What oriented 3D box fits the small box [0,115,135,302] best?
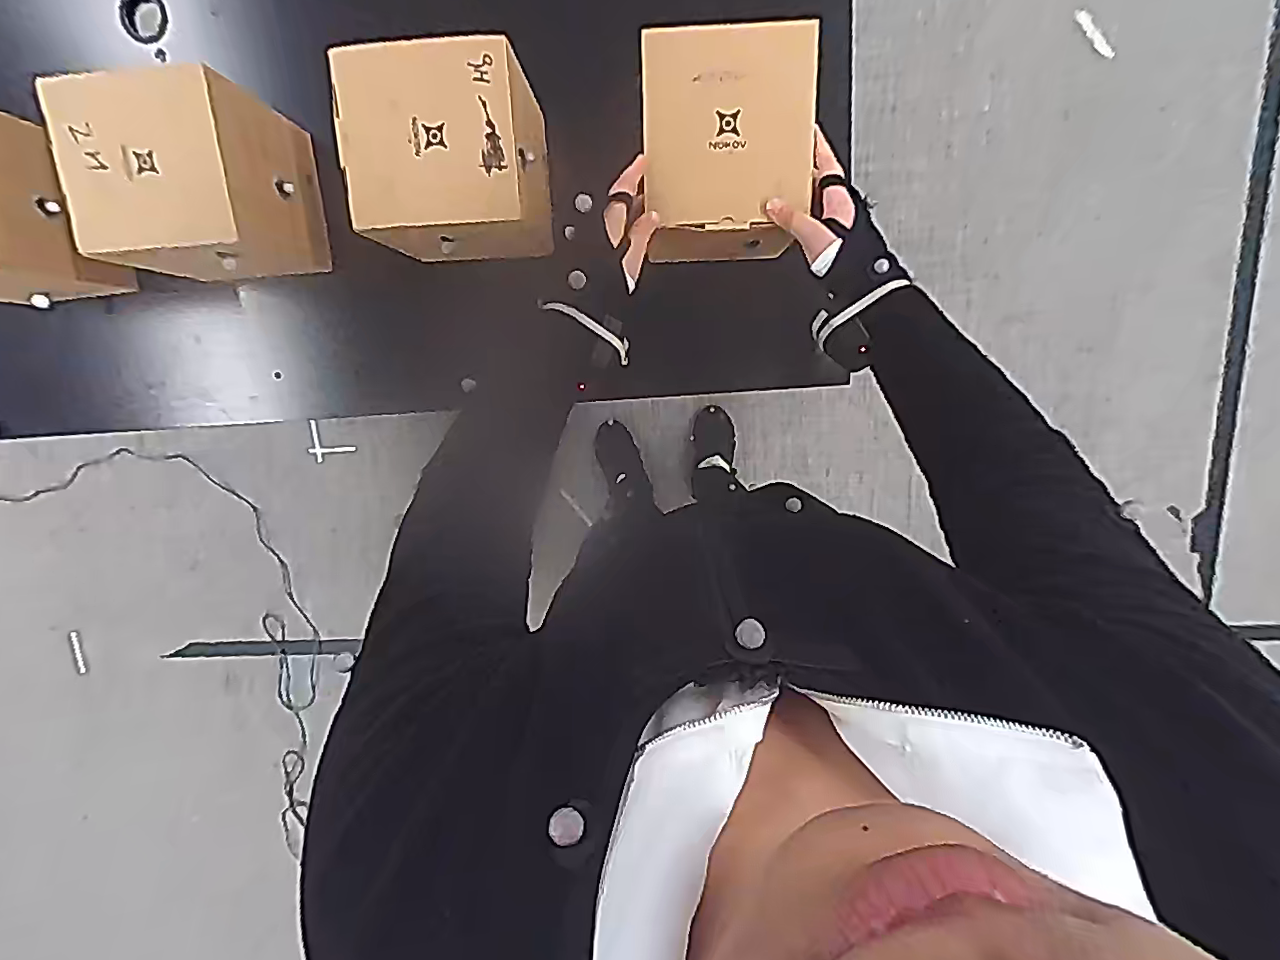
[{"bbox_3d":[-0.768,-0.317,0.639,0.168,0.176,0.179,-5,102,3],"label":"small box"}]

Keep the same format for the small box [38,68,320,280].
[{"bbox_3d":[-0.502,-0.335,0.625,0.179,0.176,0.168,-4,101,2],"label":"small box"}]

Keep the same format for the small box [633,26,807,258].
[{"bbox_3d":[0.080,-0.353,0.602,0.168,0.176,0.179,-1,100,2],"label":"small box"}]

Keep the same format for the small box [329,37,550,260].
[{"bbox_3d":[-0.209,-0.354,0.612,0.179,0.176,0.168,-2,101,3],"label":"small box"}]
